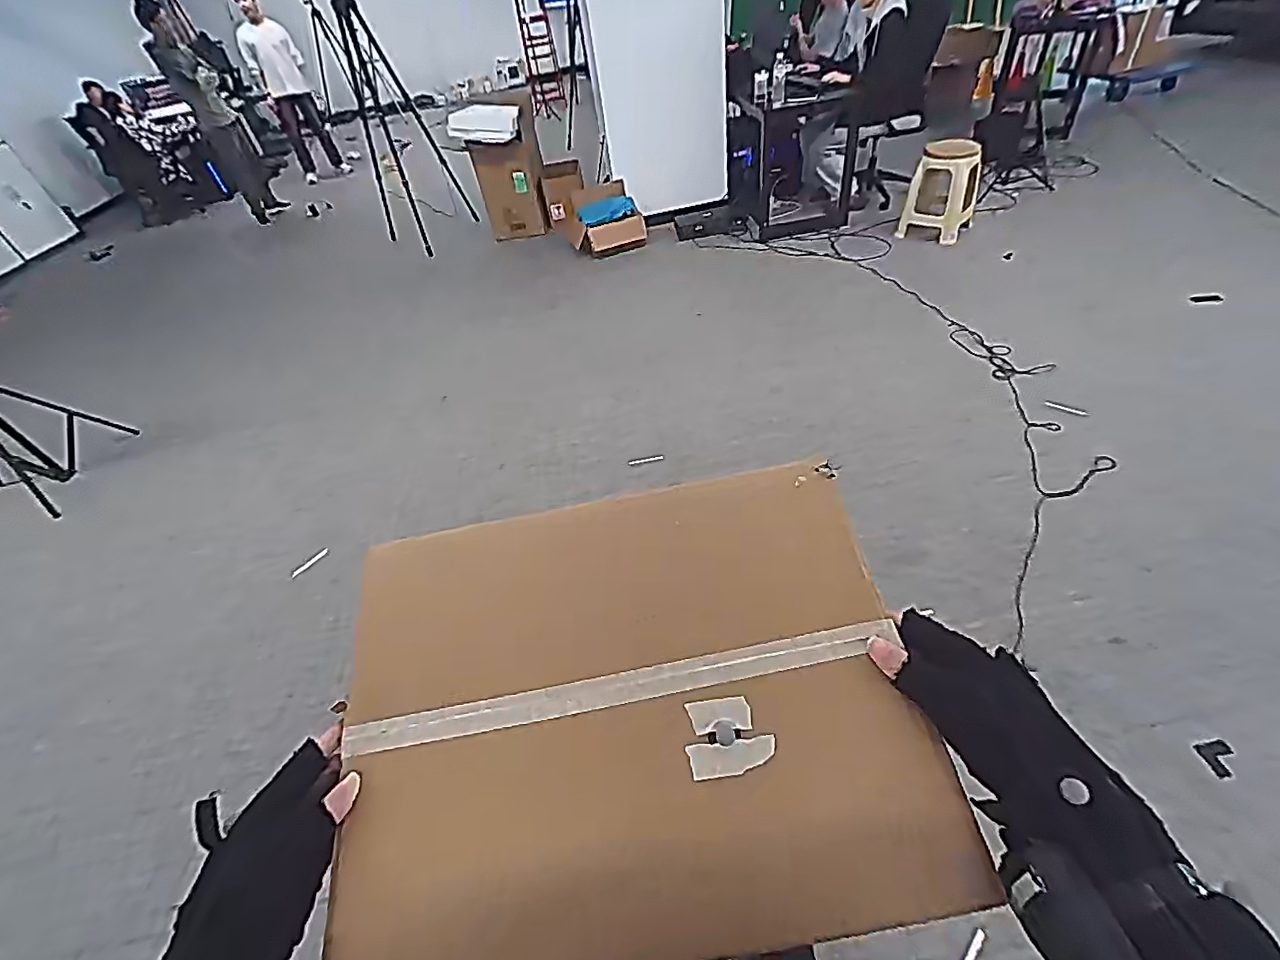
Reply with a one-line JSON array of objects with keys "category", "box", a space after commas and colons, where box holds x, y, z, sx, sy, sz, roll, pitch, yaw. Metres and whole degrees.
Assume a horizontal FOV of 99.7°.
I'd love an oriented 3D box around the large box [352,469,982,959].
[{"category": "large box", "box": [0.005, 0.234, 0.530, 0.408, 0.320, 0.320, -11, 59, -1]}]
